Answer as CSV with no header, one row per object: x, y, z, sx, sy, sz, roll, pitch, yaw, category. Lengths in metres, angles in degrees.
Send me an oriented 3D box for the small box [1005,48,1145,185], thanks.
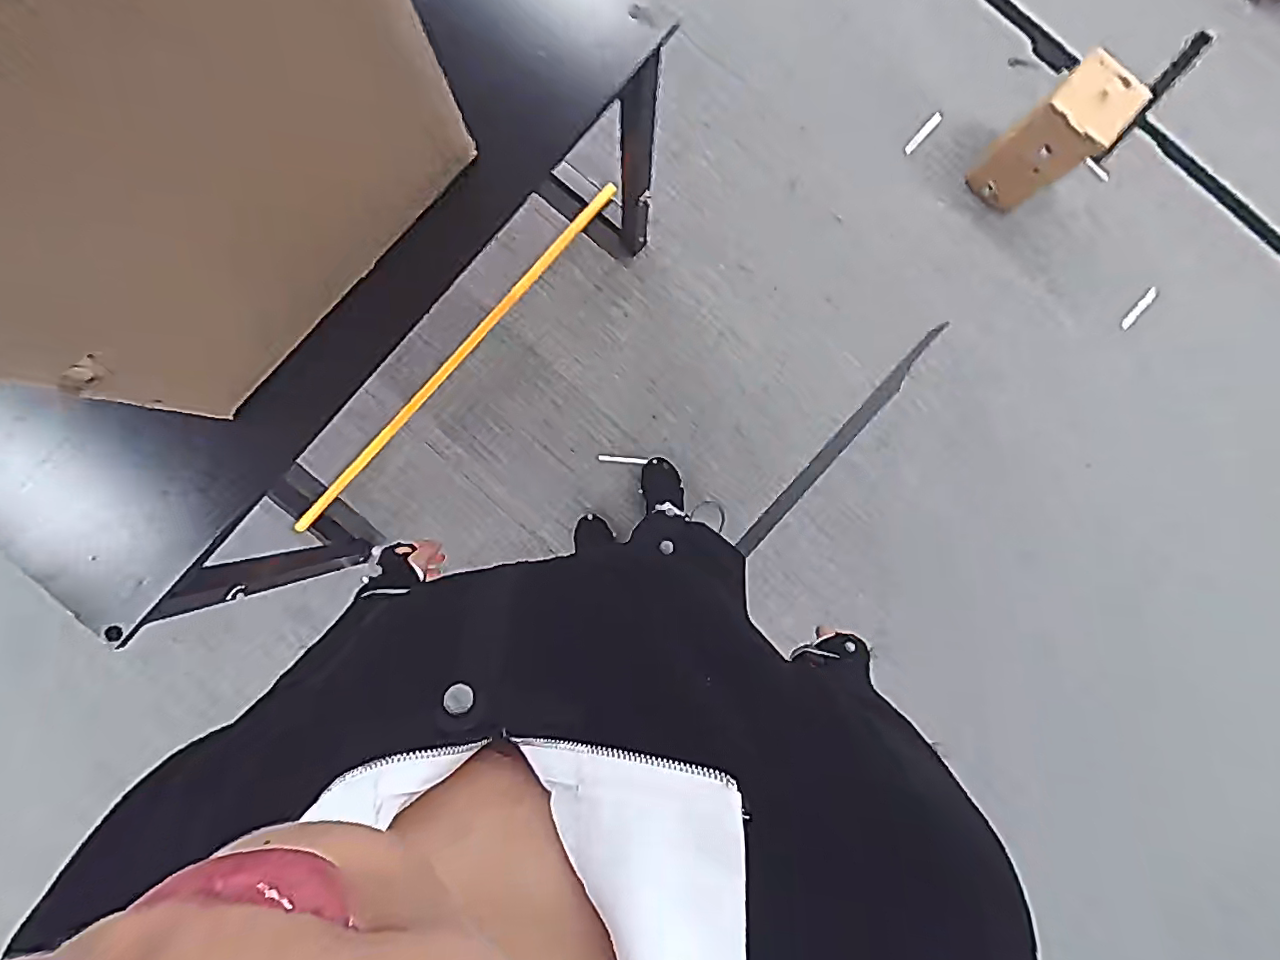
1.033,-0.865,1.307,0.168,0.176,0.179,42,89,0,small box

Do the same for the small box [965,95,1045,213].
1.038,-0.877,1.472,0.168,0.176,0.179,40,89,0,small box
